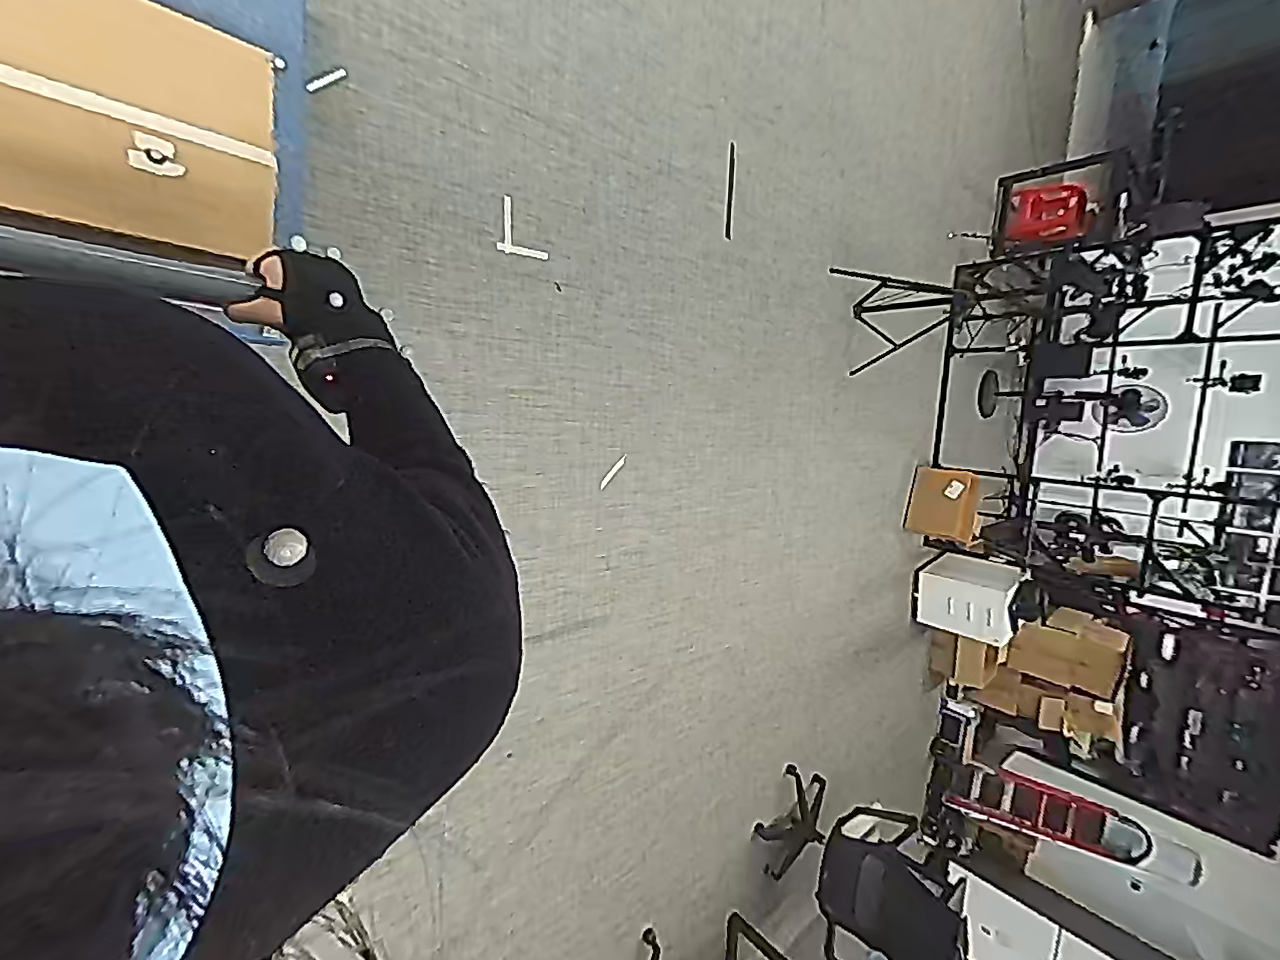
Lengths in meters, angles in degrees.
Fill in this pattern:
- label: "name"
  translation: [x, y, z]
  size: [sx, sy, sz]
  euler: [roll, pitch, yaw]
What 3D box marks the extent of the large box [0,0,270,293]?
- label: "large box"
  translation: [-0.818, -0.493, 0.804]
  size: [0.408, 0.320, 0.320]
  euler: [0, 98, -43]
